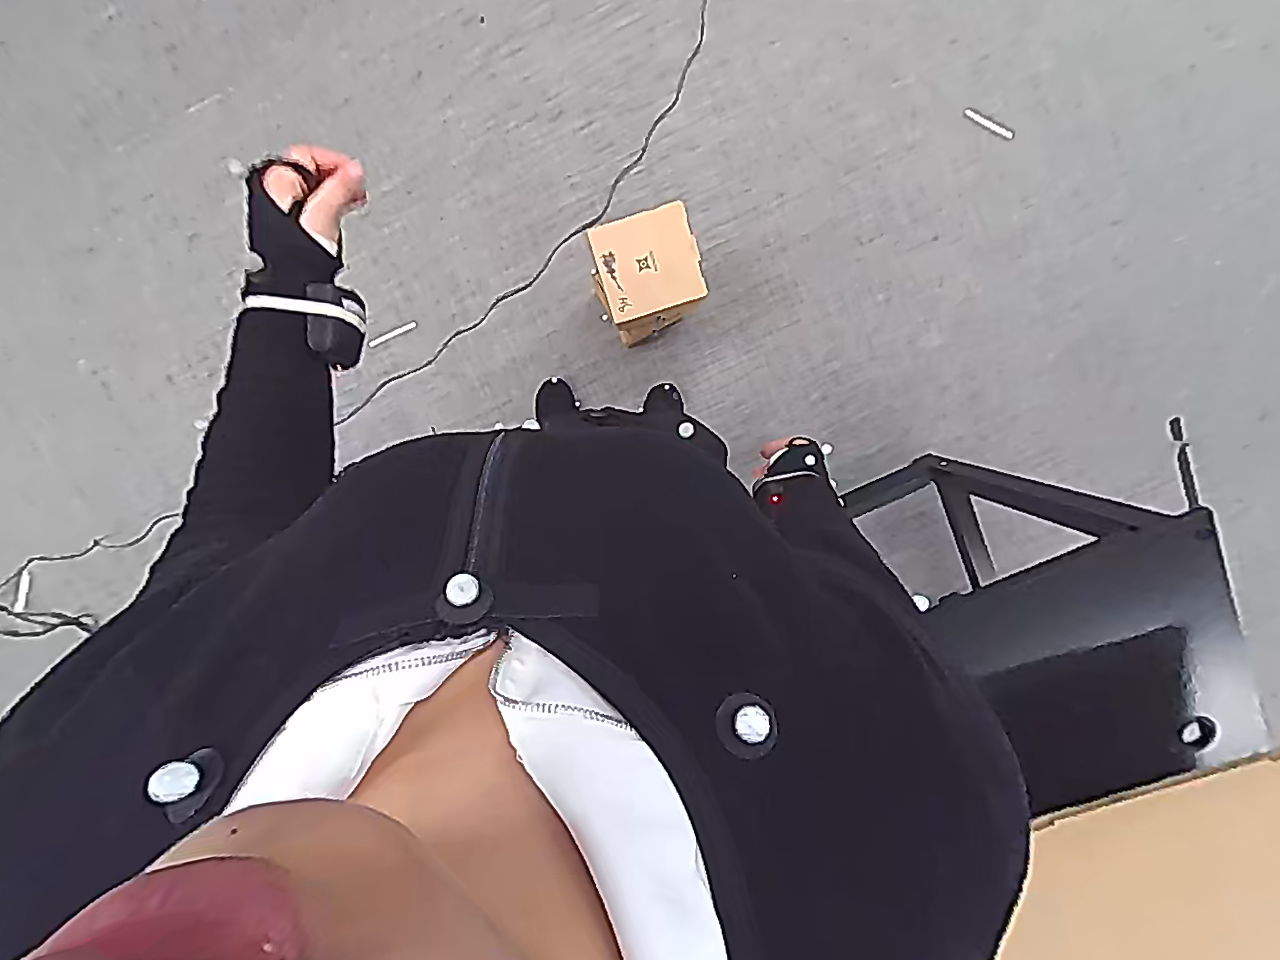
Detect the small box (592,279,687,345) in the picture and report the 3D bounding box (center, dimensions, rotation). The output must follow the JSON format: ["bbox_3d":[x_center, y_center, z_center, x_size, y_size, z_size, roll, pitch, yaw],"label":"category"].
[{"bbox_3d":[-0.003,-0.450,1.344,0.179,0.176,0.168,-28,99,5],"label":"small box"}]

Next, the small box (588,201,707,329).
[{"bbox_3d":[0.010,-0.395,1.022,0.179,0.176,0.168,-17,100,1],"label":"small box"}]

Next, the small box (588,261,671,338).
[{"bbox_3d":[0.004,-0.427,1.183,0.179,0.176,0.168,-31,100,3],"label":"small box"}]
